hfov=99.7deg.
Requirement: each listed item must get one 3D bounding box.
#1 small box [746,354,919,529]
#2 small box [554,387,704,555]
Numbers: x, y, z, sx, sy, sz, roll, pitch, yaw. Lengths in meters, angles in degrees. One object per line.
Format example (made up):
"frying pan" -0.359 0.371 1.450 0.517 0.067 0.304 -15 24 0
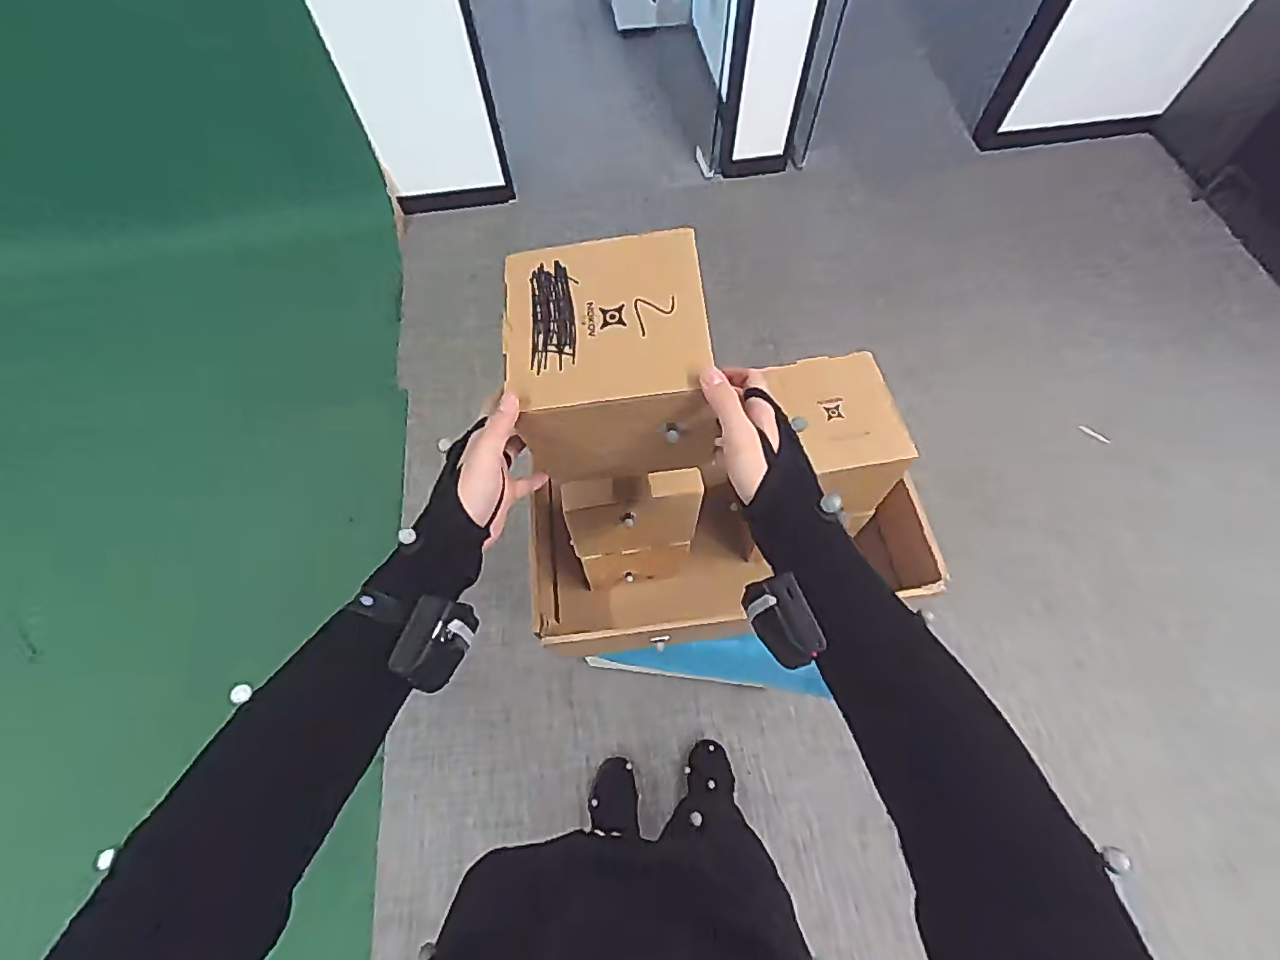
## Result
"small box" 0.256 -0.051 0.773 0.168 0.176 0.179 -9 62 -1
"small box" -0.016 -0.005 0.755 0.179 0.176 0.168 -8 63 -4
